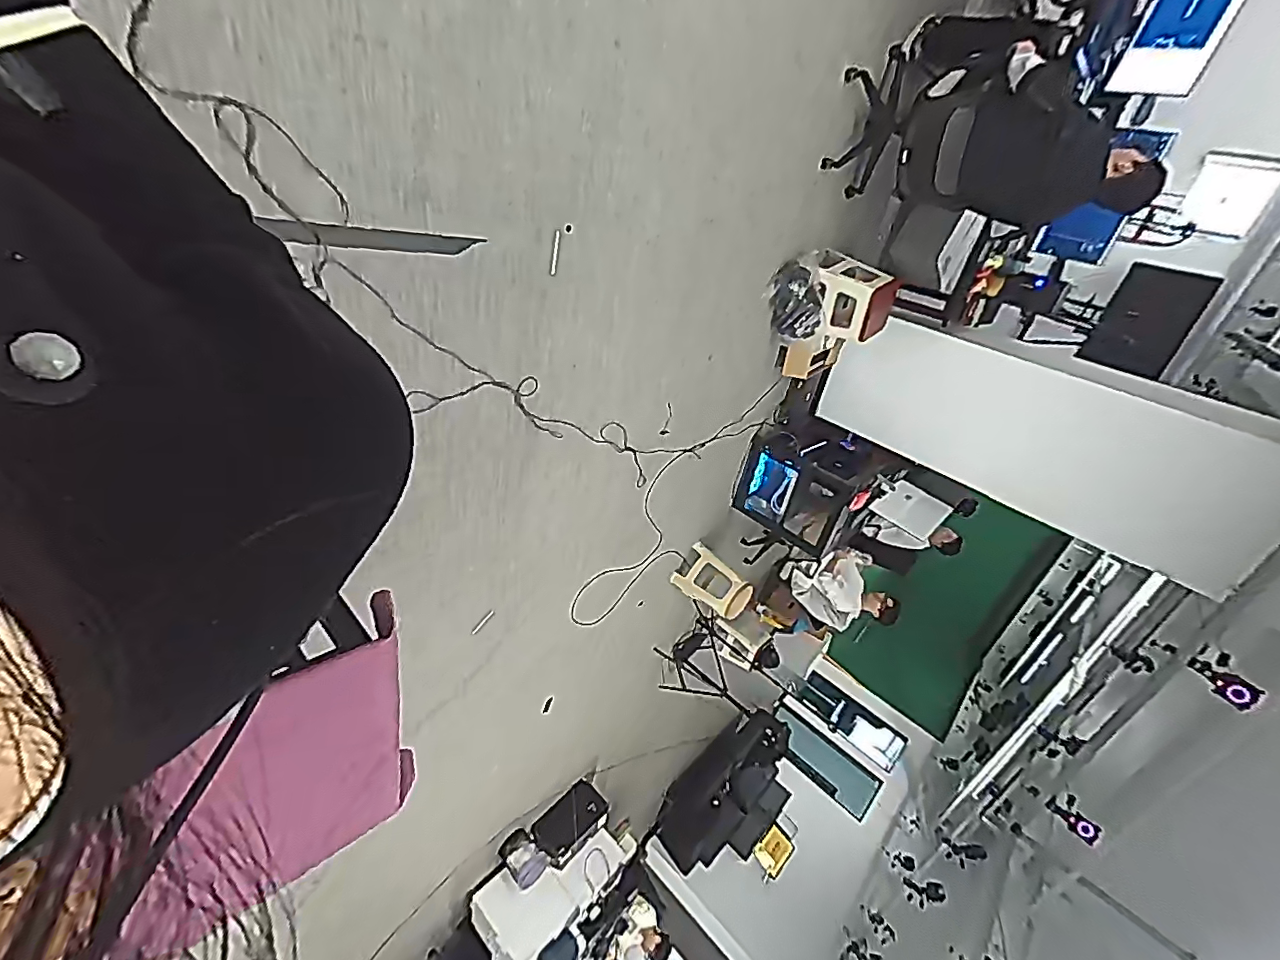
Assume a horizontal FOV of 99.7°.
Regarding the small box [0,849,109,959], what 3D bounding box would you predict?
[{"bbox_3d":[-0.845,0.652,0.726,0.168,0.176,0.179,-19,132,-48],"label":"small box"}]
